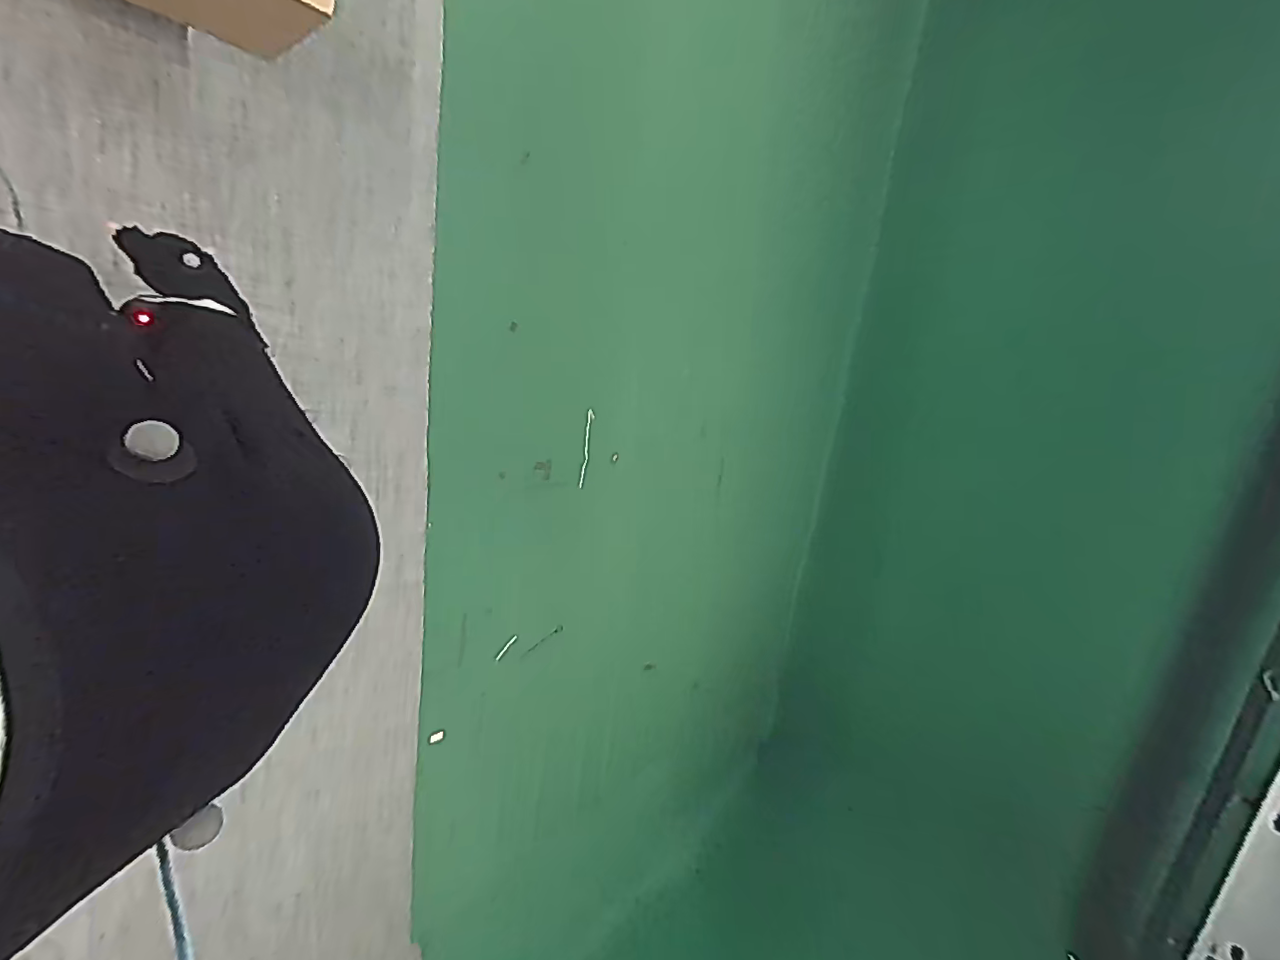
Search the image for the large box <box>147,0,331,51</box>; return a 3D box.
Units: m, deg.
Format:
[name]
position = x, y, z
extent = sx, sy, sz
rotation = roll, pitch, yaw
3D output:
[large box]
position = -0.698, -0.894, 0.751
extent = 0.408, 0.320, 0.320
rotation = -6, 109, -48
